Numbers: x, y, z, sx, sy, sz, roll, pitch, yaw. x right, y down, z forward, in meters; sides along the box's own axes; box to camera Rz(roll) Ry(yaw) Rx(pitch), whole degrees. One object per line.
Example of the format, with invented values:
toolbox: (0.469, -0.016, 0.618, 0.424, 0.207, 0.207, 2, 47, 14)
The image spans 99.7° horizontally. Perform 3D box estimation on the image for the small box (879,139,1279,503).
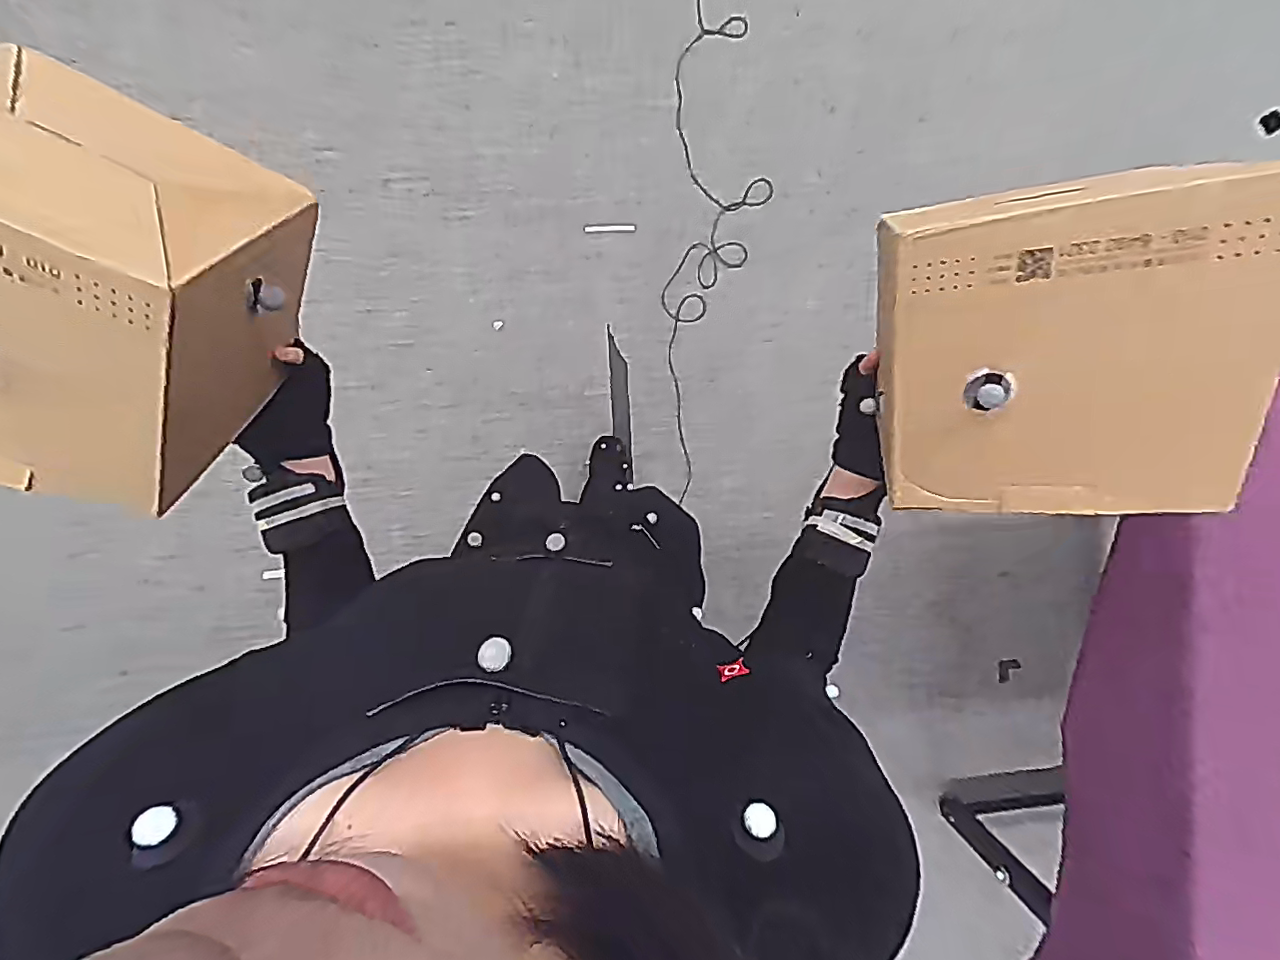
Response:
small box: (0.244, -0.099, 0.337, 0.168, 0.179, 0.176, 0, 117, 20)

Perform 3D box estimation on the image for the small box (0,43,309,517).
small box: (-0.321, -0.115, 0.309, 0.168, 0.179, 0.176, 23, 123, -22)
